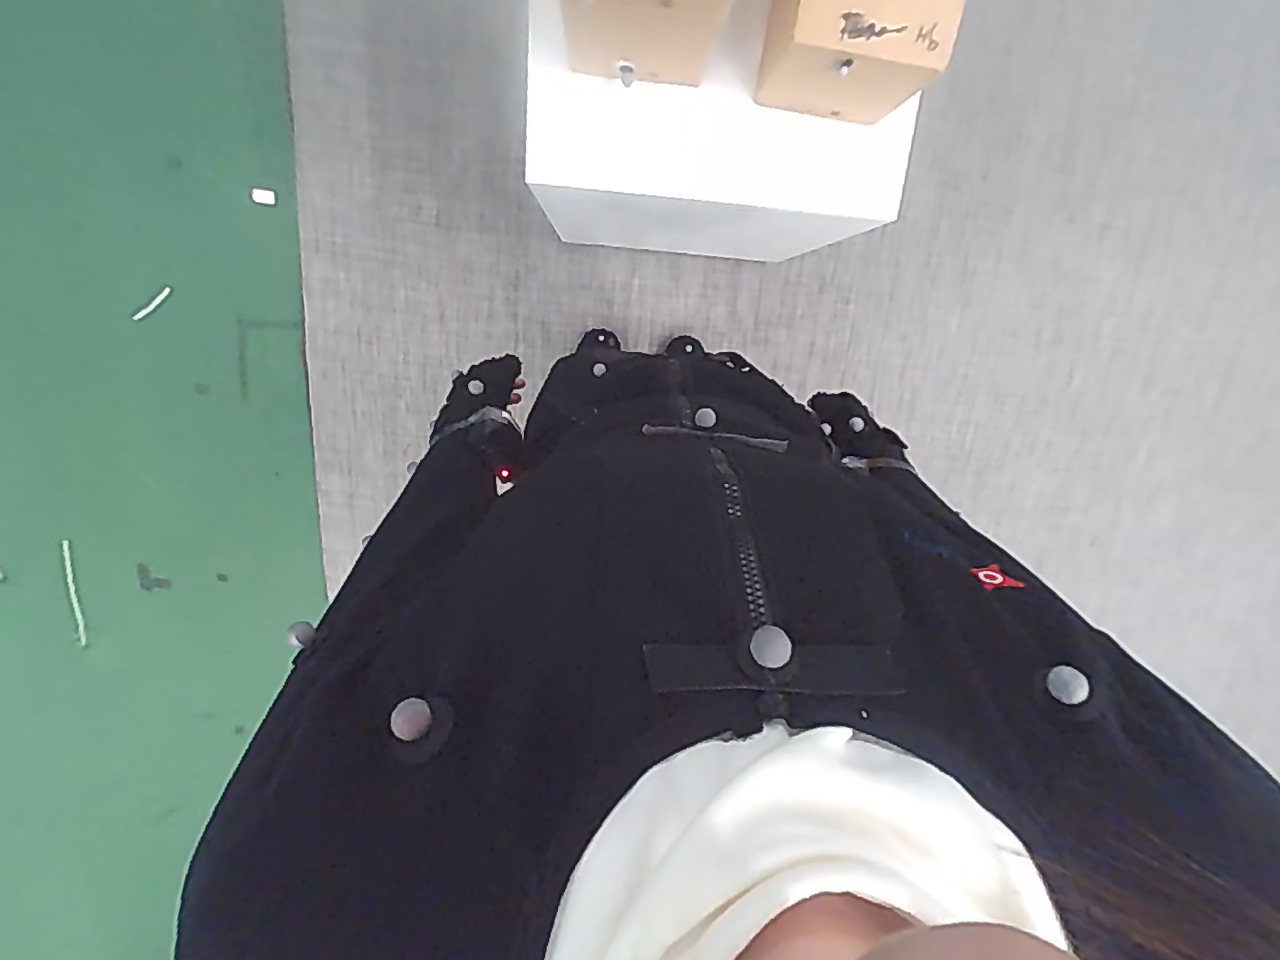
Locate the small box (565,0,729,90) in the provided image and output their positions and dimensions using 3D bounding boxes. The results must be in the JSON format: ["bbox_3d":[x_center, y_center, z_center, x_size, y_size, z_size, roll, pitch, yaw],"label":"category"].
[{"bbox_3d":[0.009,-0.566,0.591,0.168,0.176,0.179,3,107,-2],"label":"small box"}]

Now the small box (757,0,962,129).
[{"bbox_3d":[0.242,-0.534,0.608,0.168,0.176,0.179,8,105,-5],"label":"small box"}]
